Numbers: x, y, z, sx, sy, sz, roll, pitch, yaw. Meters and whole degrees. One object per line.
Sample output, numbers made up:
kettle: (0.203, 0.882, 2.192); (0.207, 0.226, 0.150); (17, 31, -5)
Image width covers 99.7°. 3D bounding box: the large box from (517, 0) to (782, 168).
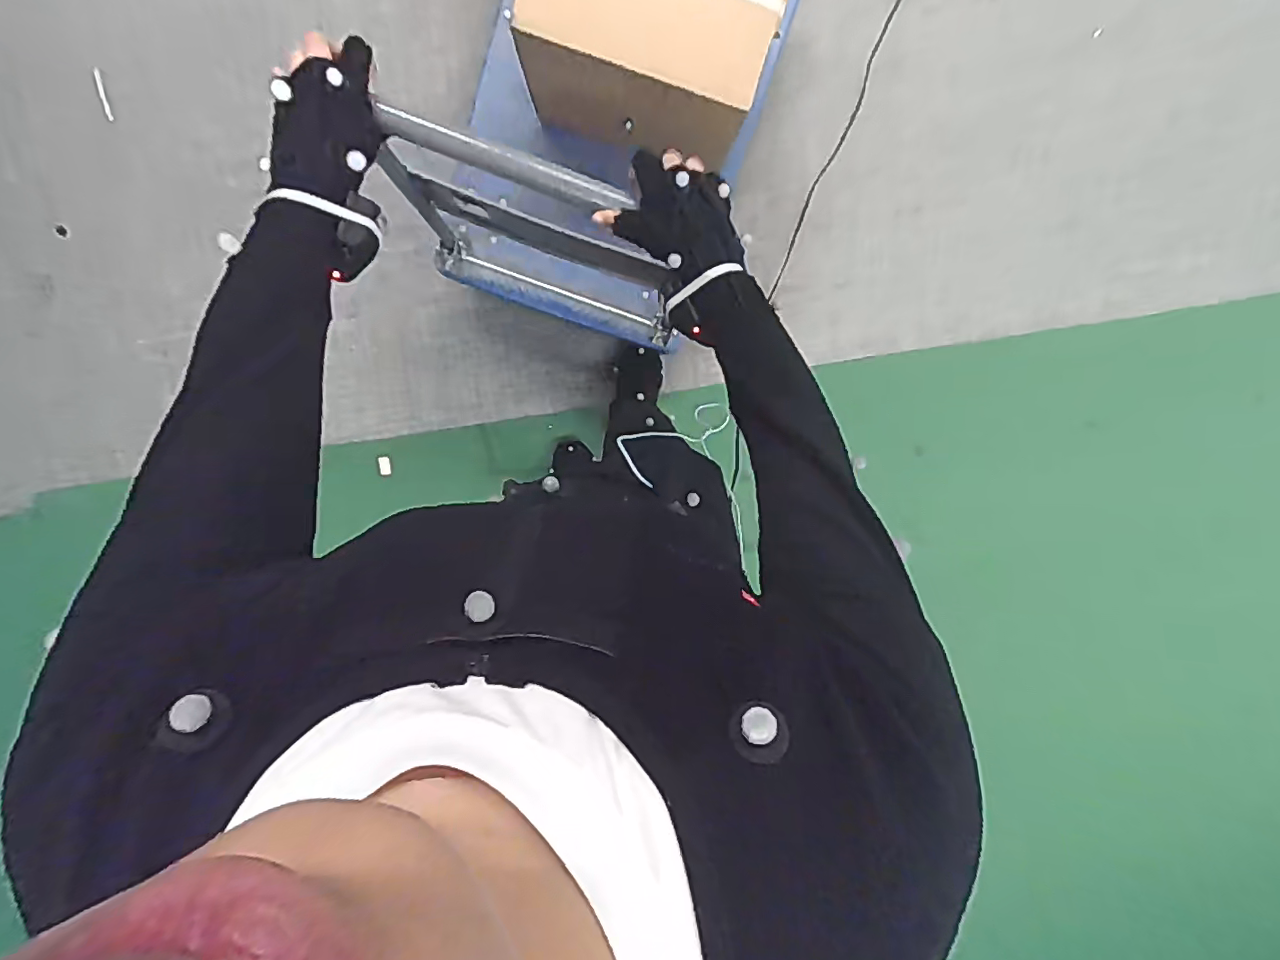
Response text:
large box: (0.031, -0.836, 0.990); (0.408, 0.320, 0.320); (15, 99, -4)
